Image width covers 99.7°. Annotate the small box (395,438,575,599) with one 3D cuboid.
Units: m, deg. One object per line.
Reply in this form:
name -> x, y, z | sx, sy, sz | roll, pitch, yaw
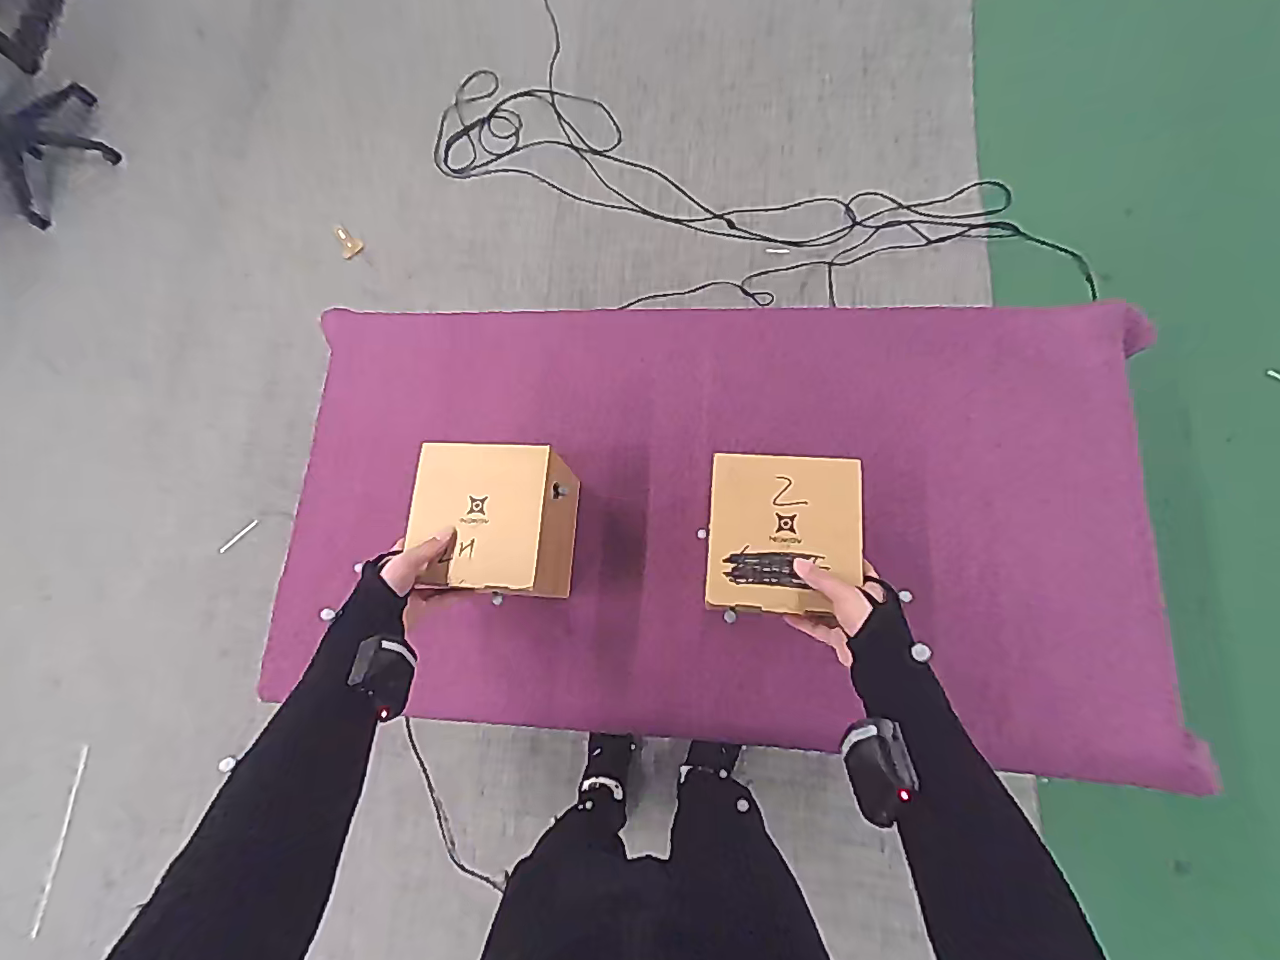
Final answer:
small box -> -0.187, 0.057, 0.711 | 0.168, 0.176, 0.179 | 3, 76, 7
